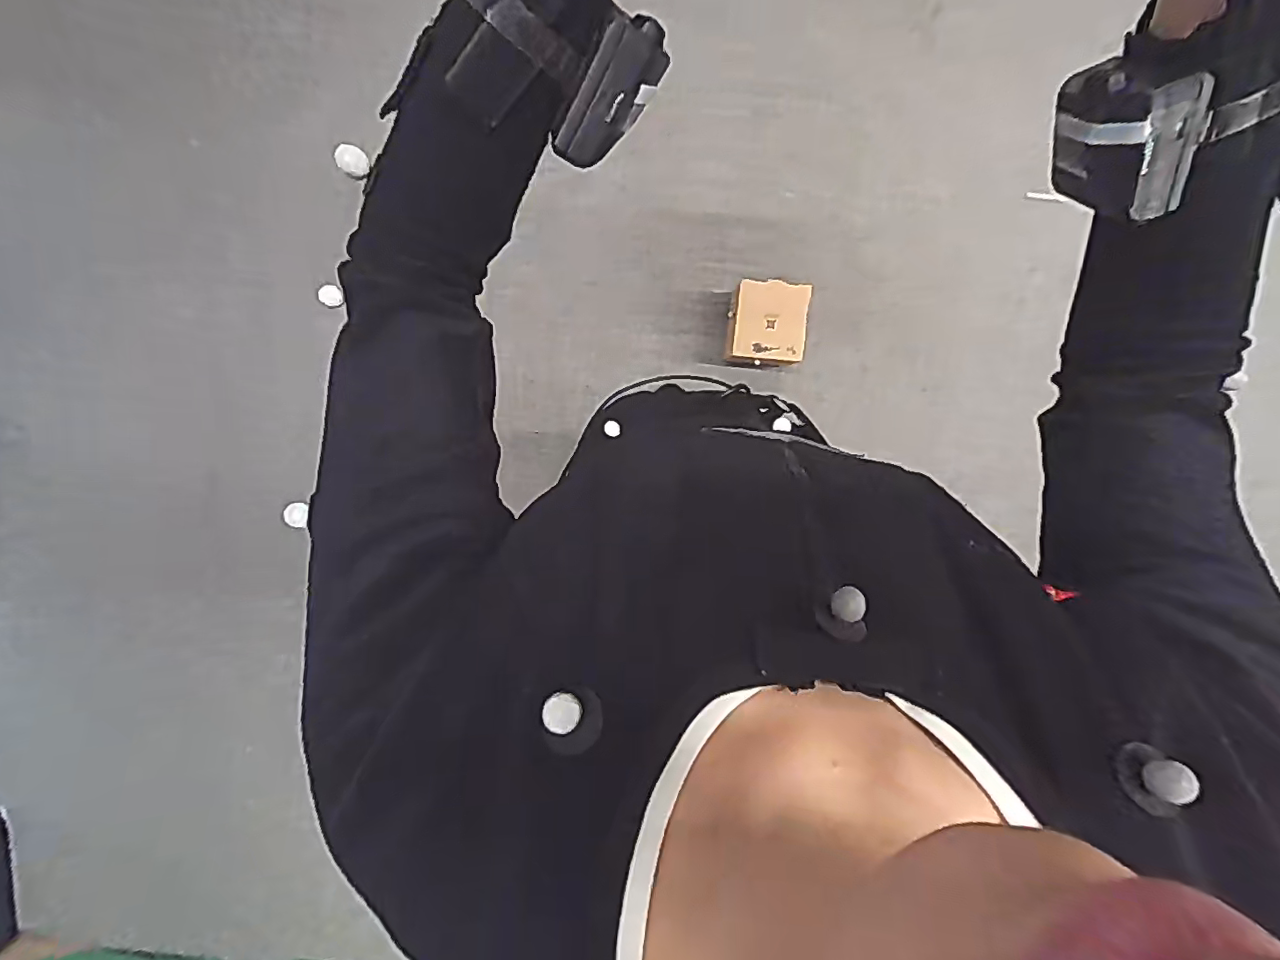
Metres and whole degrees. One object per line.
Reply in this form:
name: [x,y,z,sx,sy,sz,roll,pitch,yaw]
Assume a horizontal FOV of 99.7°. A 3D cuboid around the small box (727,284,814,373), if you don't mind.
small box: [0.313,-0.366,1.332,0.168,0.176,0.179,6,97,2]
